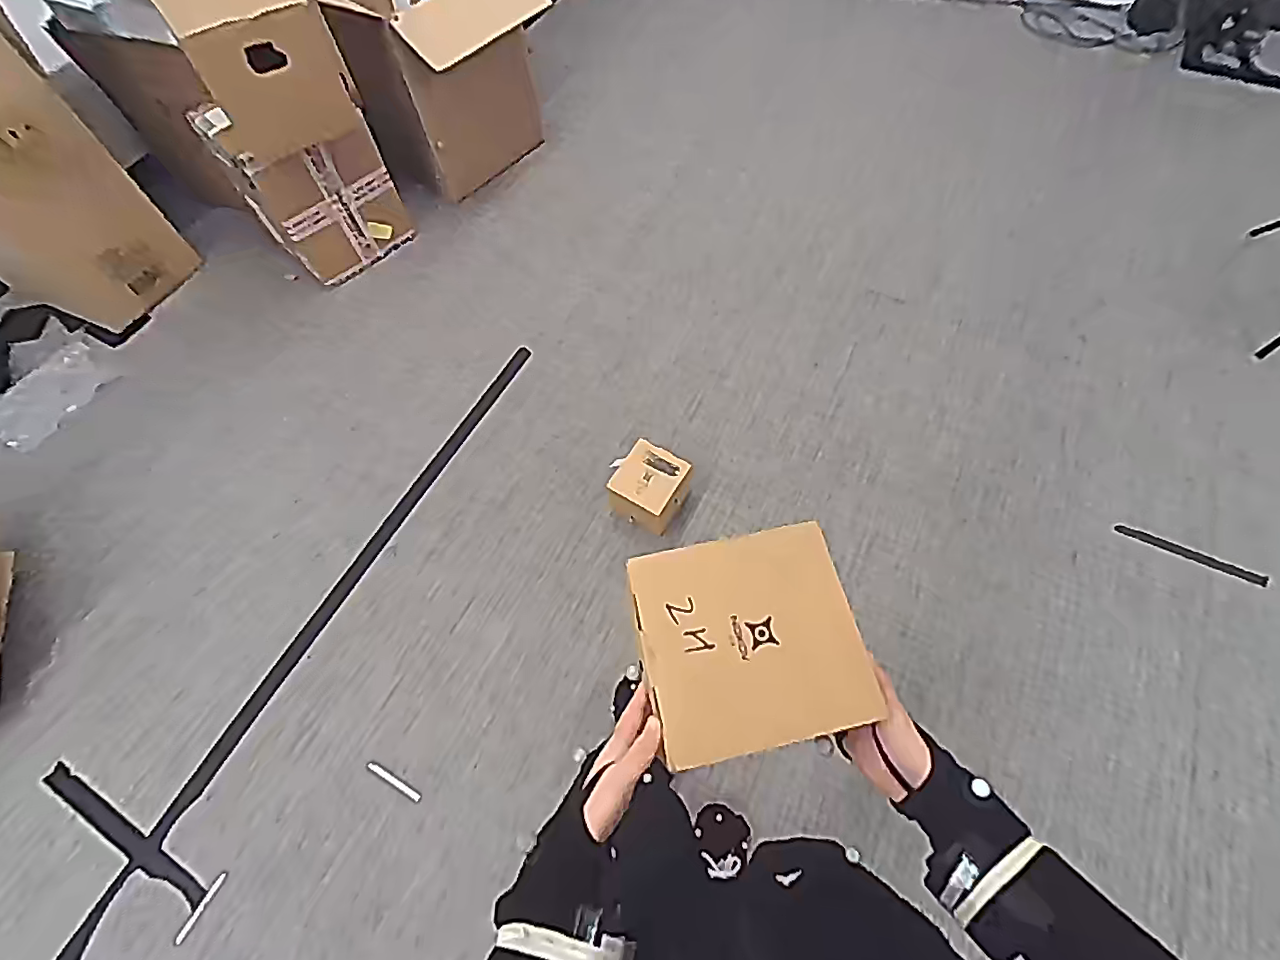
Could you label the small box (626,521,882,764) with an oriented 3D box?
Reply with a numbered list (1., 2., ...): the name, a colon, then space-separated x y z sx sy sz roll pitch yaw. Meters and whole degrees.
1. small box: 0.086 0.154 0.511 0.179 0.176 0.168 -11 67 -6
